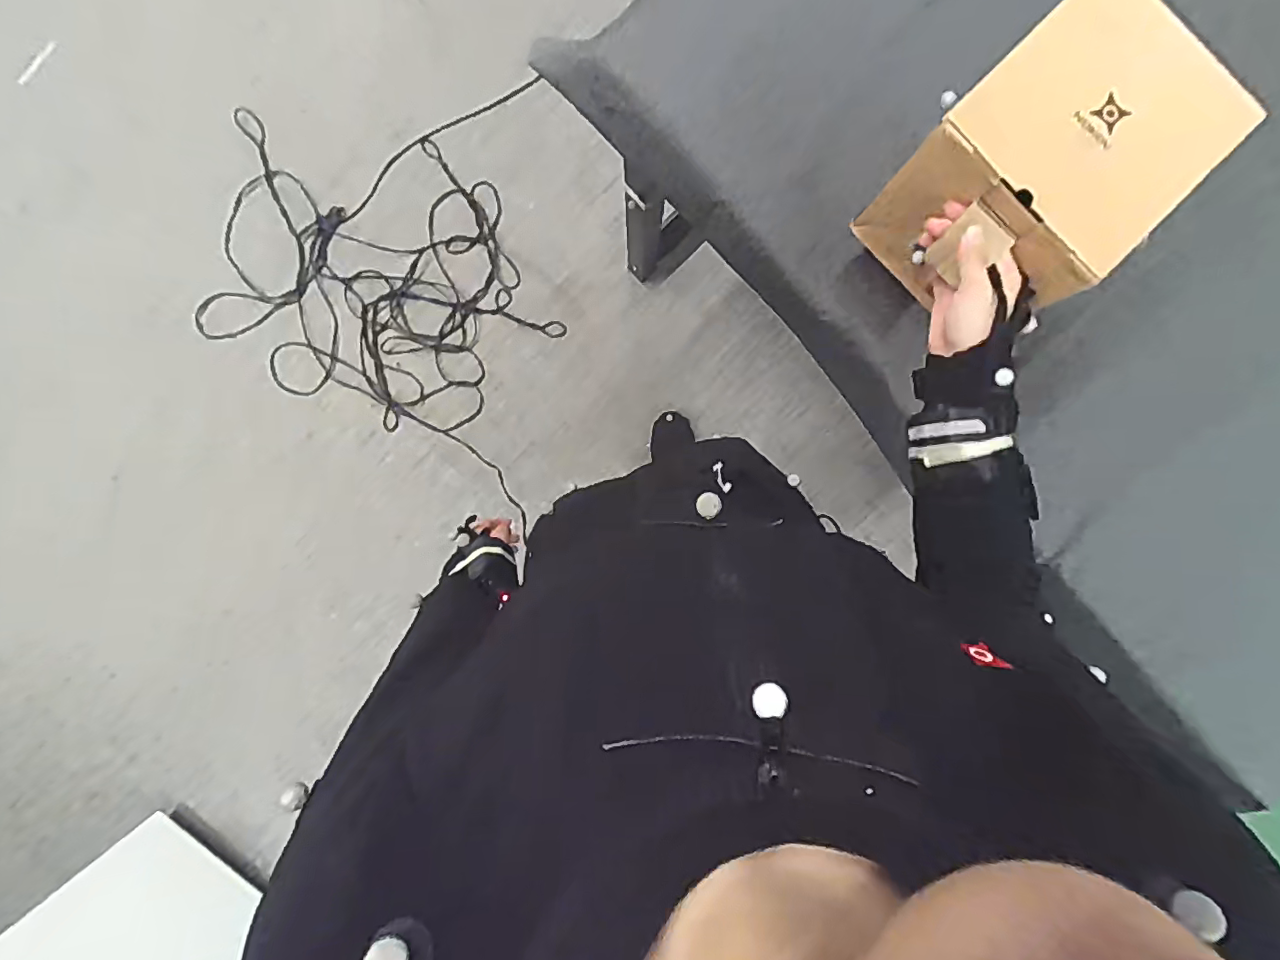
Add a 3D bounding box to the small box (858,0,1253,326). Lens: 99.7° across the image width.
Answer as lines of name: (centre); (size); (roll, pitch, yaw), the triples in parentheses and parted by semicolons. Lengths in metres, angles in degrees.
small box: (0.330, -0.266, 0.471); (0.168, 0.176, 0.179); (44, 90, -2)
